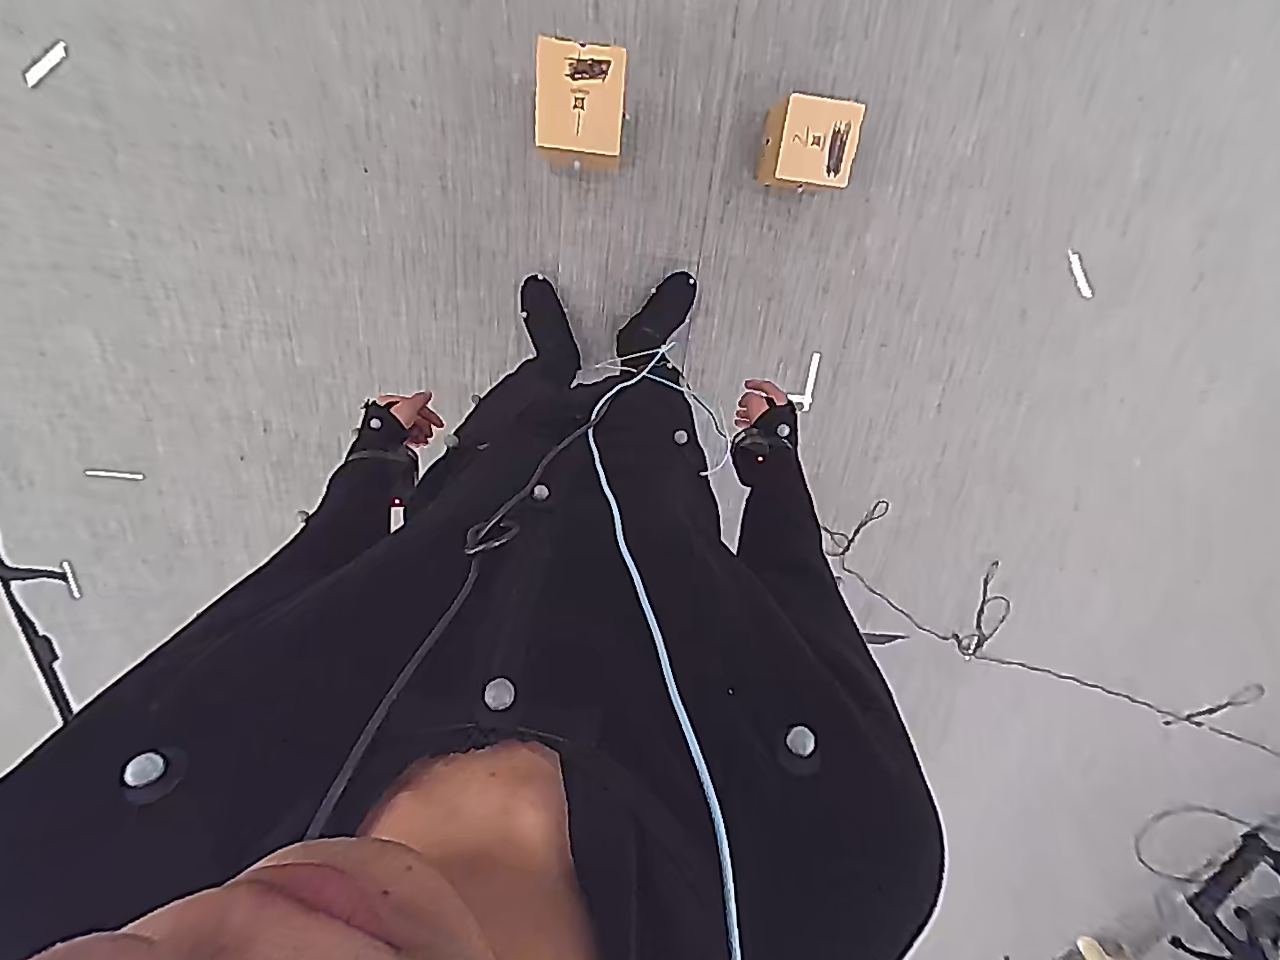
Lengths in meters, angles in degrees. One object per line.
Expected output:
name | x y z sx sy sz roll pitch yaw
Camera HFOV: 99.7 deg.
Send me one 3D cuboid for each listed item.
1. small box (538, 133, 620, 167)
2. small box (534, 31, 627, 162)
small box | -0.134 -0.825 1.237 0.179 0.176 0.168 4 115 -5
small box | -0.119 -0.758 1.087 0.168 0.176 0.179 5 115 -5
